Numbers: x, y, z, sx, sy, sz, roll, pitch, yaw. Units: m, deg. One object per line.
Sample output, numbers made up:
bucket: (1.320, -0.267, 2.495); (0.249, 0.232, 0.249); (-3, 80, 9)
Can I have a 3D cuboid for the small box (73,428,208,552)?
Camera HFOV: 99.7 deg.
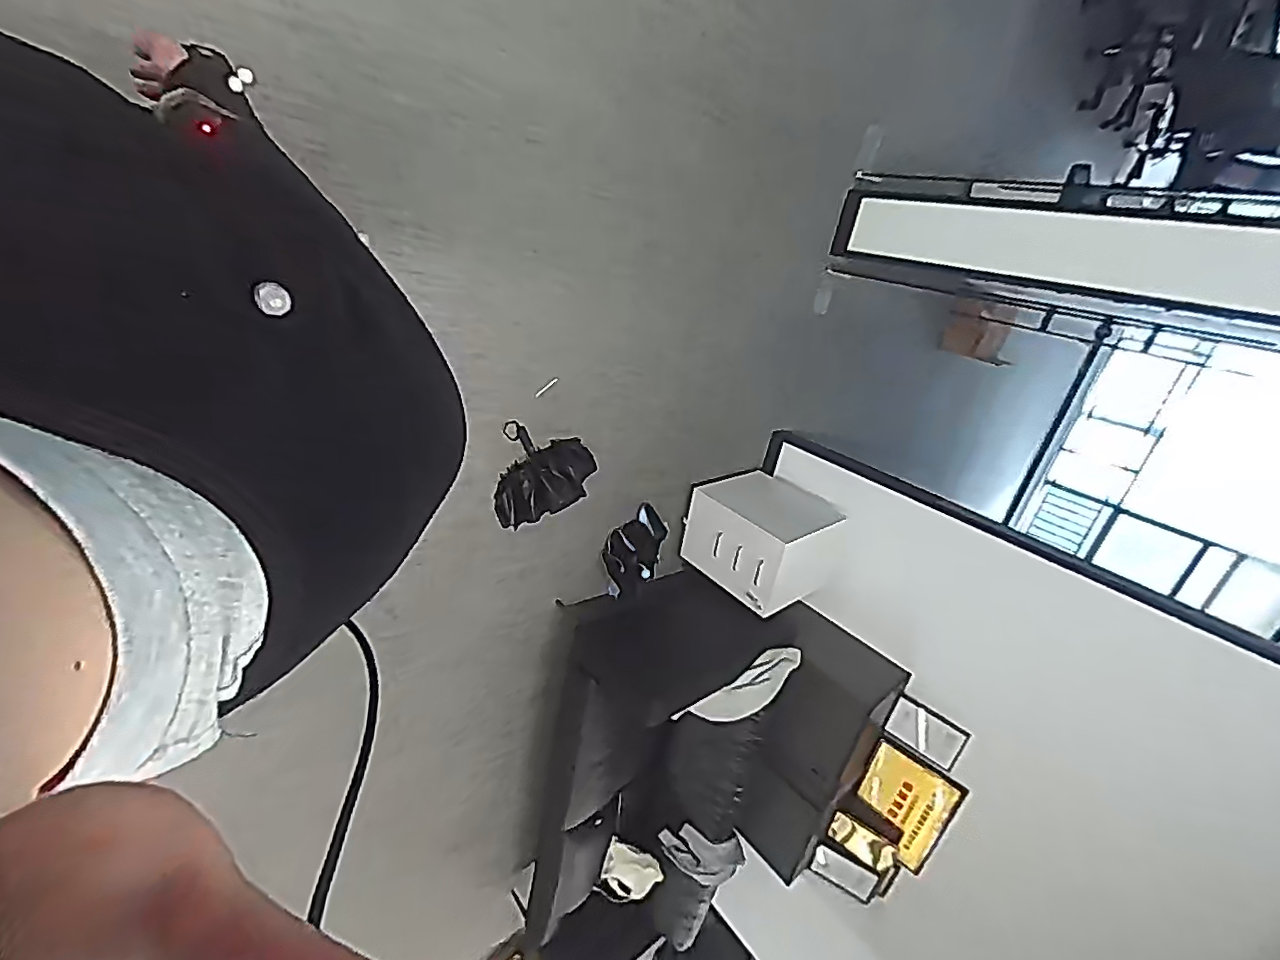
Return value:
small box: (-0.982, 0.013, 1.071); (0.168, 0.176, 0.179); (-14, 123, -40)
